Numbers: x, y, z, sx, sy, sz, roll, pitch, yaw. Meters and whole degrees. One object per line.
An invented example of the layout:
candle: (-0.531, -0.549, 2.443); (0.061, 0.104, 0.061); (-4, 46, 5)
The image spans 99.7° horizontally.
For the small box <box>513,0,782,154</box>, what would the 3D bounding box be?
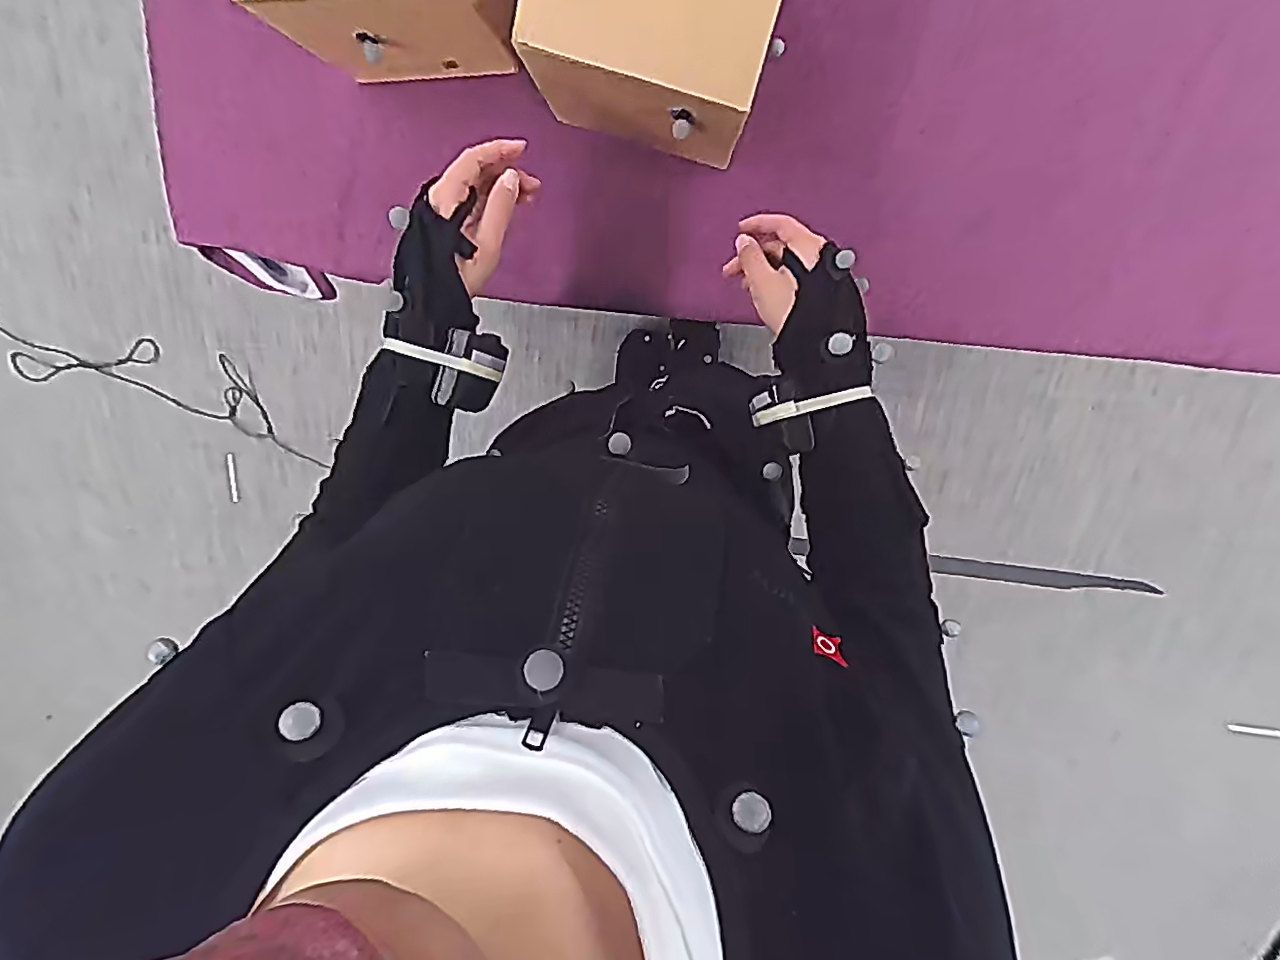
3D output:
small box: (0.020, -0.385, 0.429); (0.179, 0.176, 0.168); (15, 107, -1)

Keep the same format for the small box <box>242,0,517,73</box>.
small box: (-0.203, -0.449, 0.423); (0.168, 0.176, 0.179); (-1, 108, 4)
